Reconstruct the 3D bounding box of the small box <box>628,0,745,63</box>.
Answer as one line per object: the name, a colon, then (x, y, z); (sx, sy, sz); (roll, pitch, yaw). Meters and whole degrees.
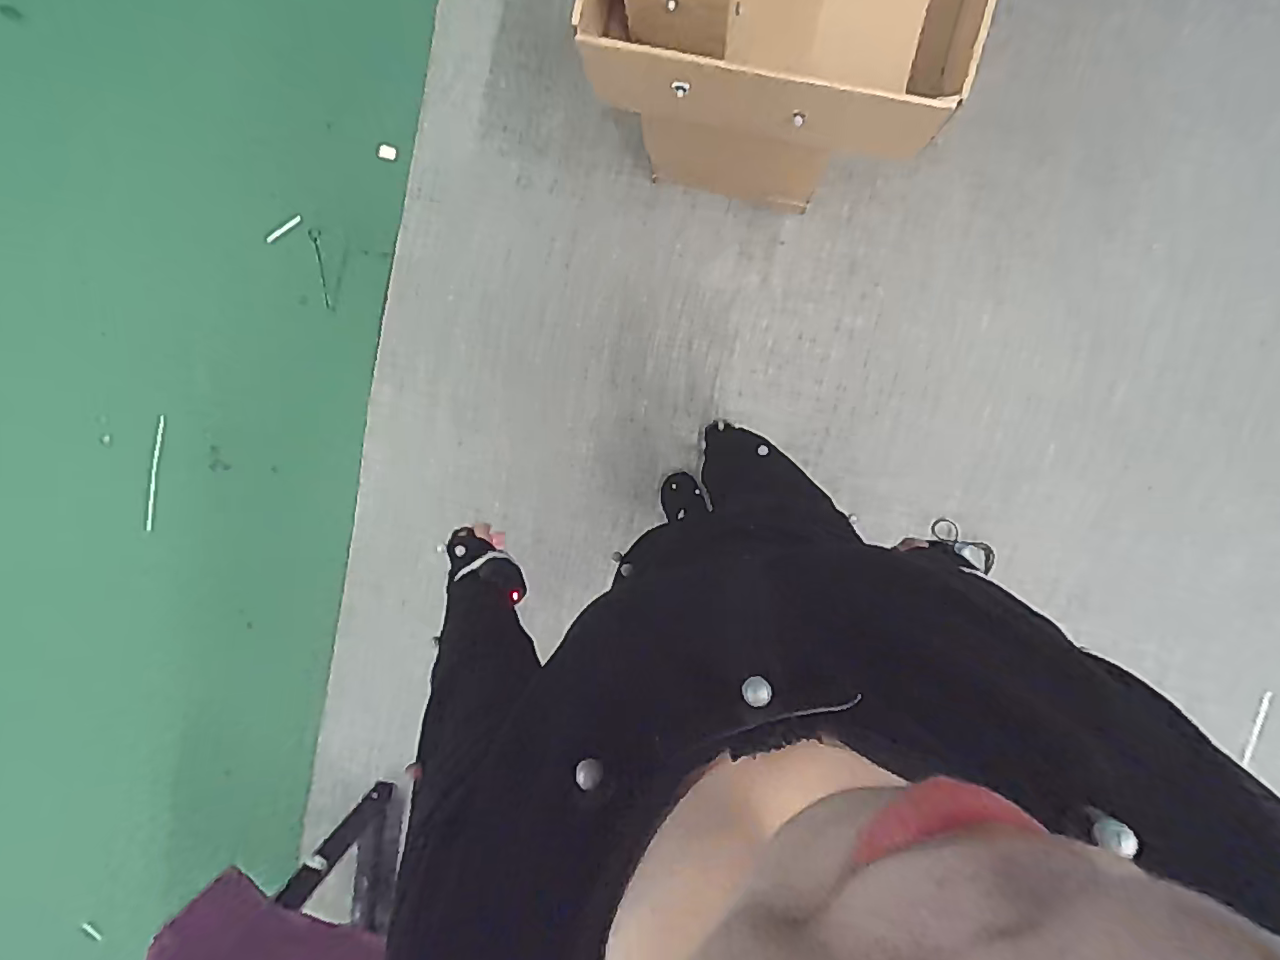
small box: (0.080, -0.820, 0.870); (0.179, 0.176, 0.168); (15, 97, 6)
